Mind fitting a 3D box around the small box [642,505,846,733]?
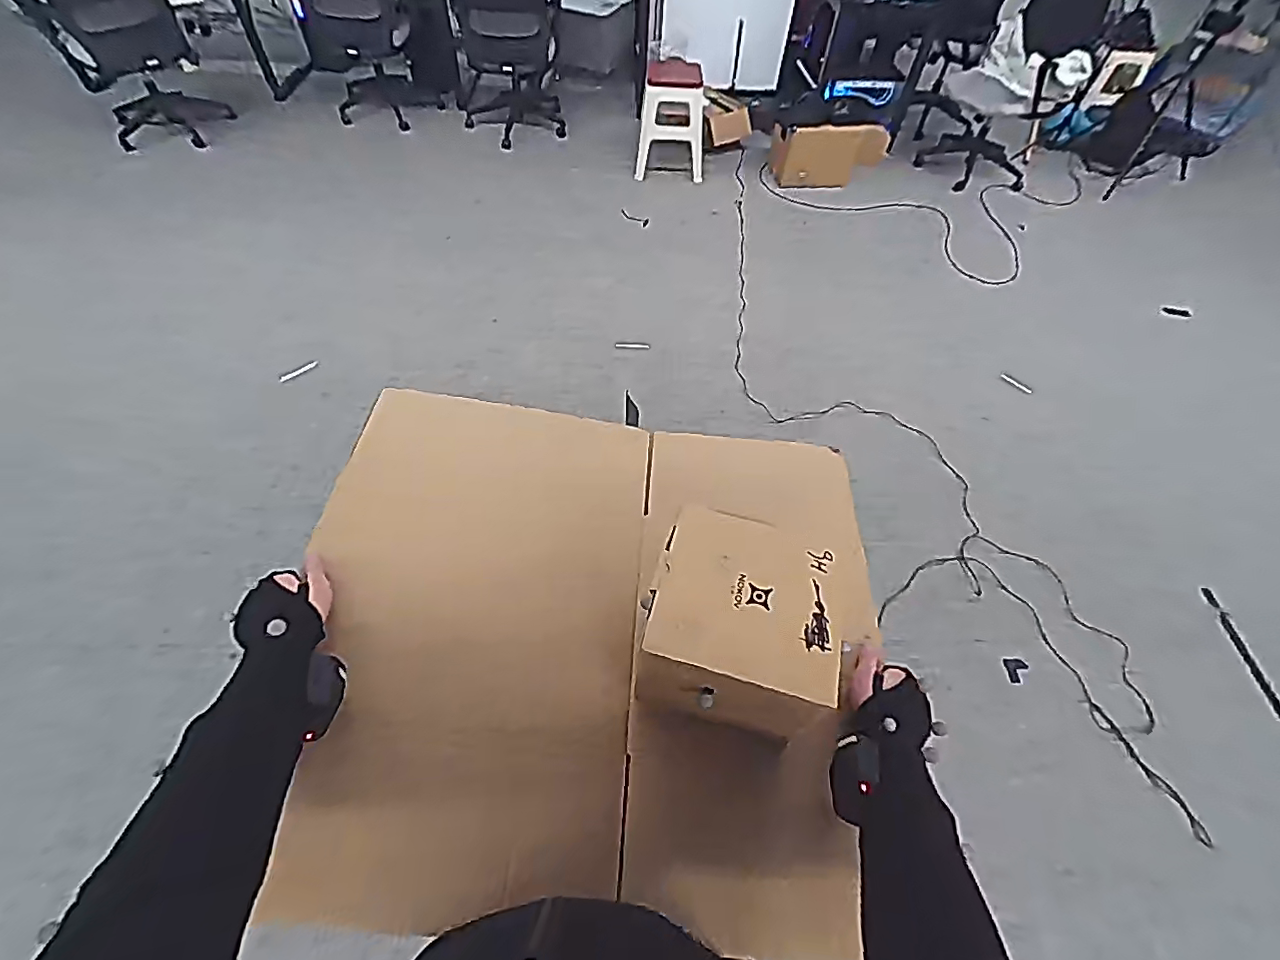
[{"bbox_3d":[0.105,0.155,0.585,0.179,0.176,0.168,13,56,9],"label":"small box"}]
